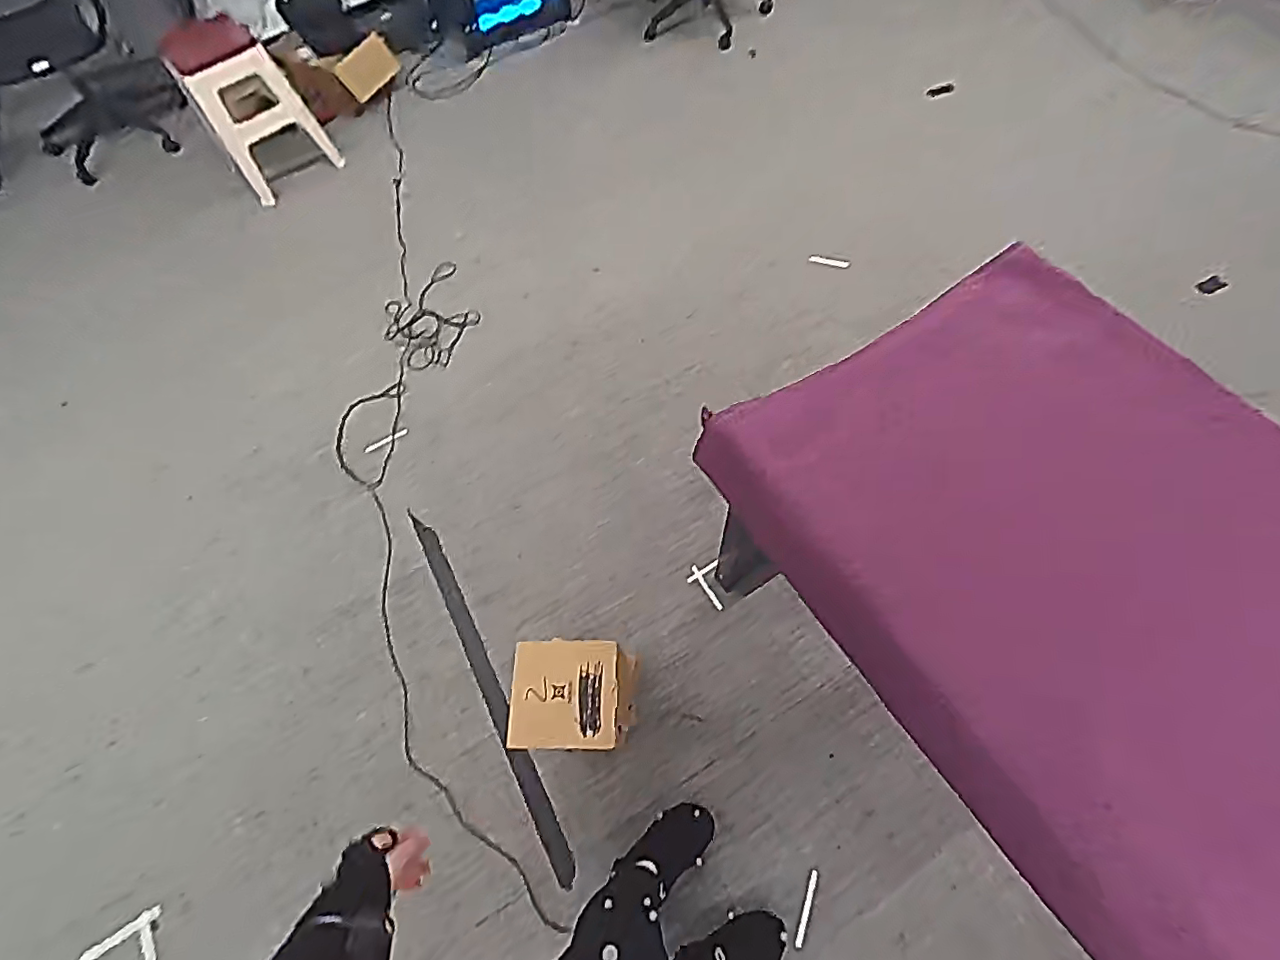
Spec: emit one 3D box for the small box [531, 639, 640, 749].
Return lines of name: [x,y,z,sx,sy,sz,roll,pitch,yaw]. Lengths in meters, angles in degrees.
small box: [-0.100,0.437,1.104,0.179,0.176,0.168,10,65,8]
